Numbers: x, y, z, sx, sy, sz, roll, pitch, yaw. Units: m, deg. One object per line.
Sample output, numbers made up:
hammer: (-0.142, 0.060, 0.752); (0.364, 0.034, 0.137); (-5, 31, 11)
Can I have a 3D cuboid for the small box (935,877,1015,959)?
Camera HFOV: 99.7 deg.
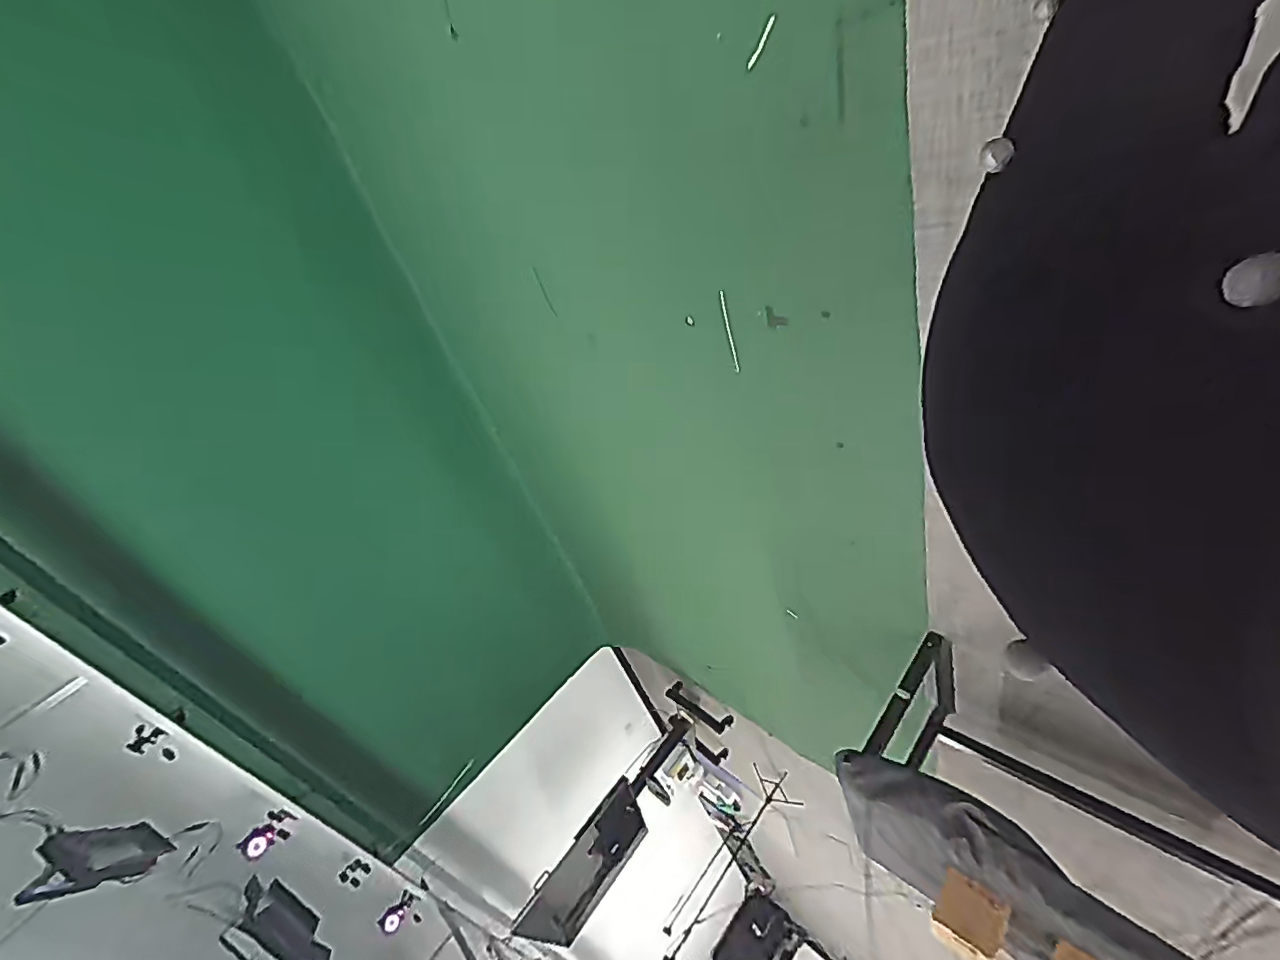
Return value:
small box: (1.012, 1.353, 1.634); (0.168, 0.176, 0.179); (17, 140, 44)
